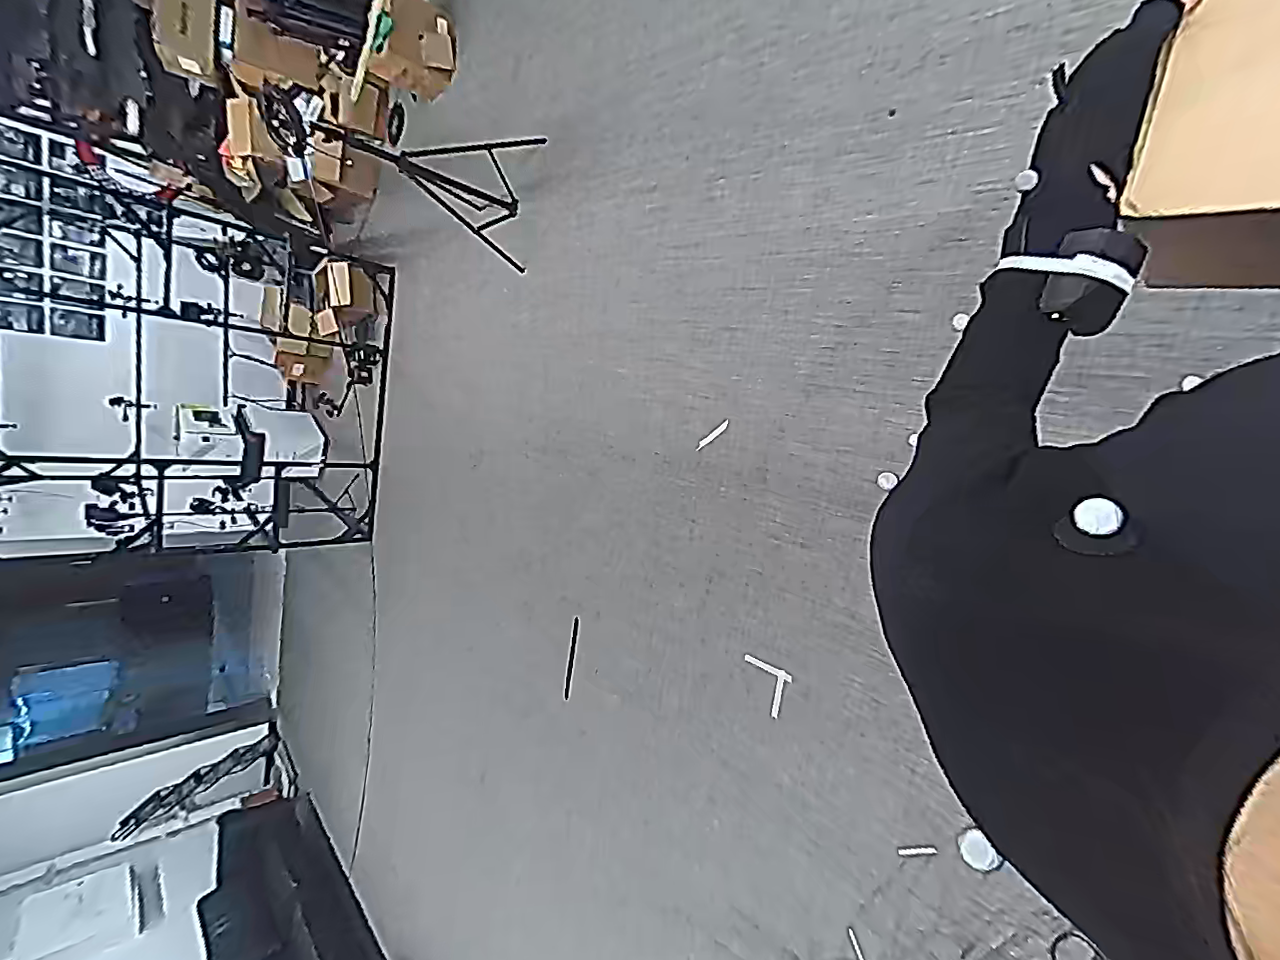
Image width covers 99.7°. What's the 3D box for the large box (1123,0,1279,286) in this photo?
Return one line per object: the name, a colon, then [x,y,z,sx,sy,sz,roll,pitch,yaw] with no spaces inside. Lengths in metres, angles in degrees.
large box: [0.625,-0.318,0.353,0.408,0.320,0.320,19,108,42]
